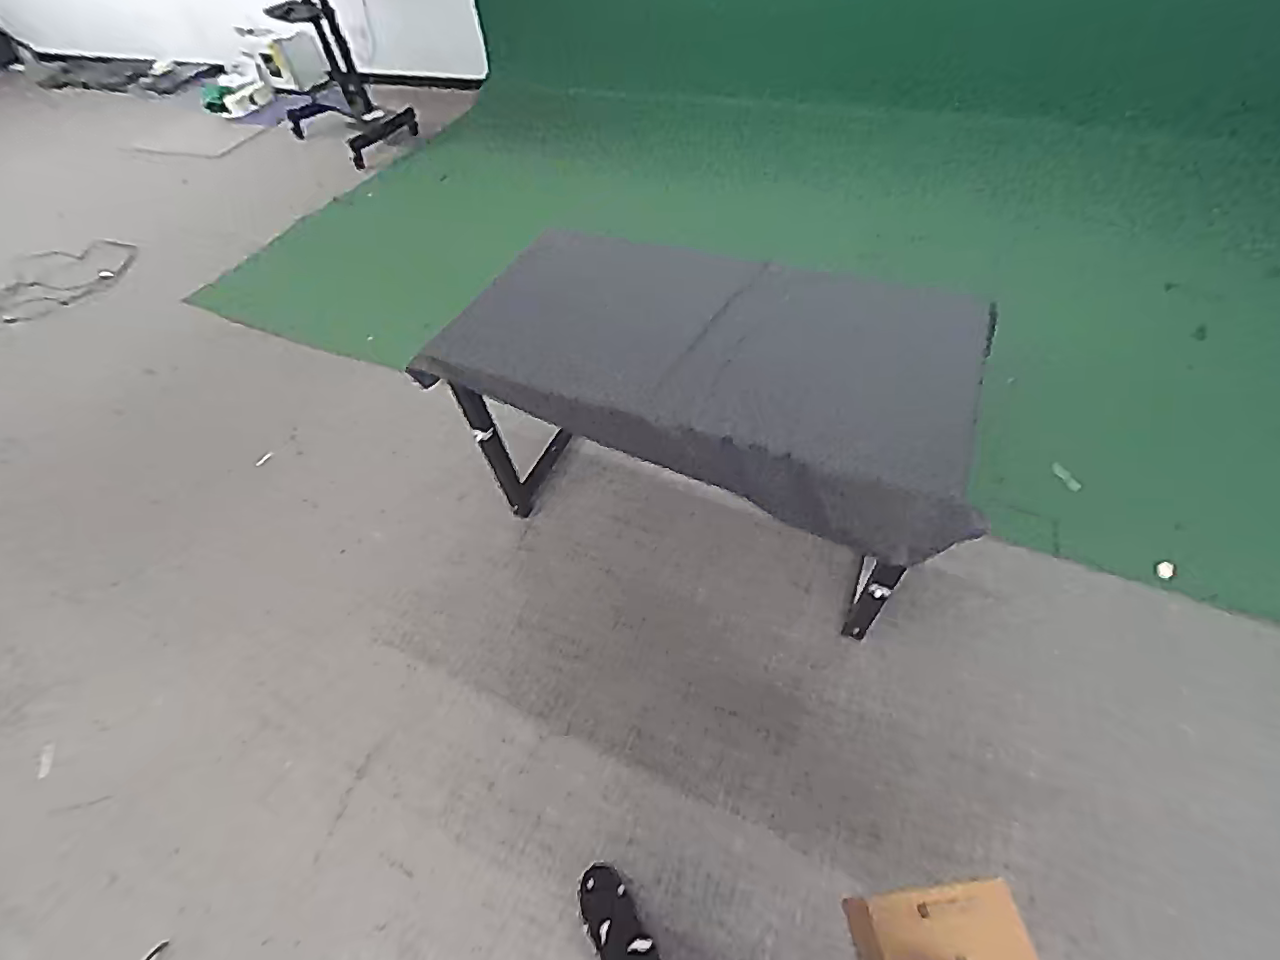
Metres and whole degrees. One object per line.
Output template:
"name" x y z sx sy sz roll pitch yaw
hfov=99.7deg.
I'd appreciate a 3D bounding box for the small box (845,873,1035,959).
"small box" 0.365 0.591 0.653 0.168 0.179 0.176 -12 51 2
